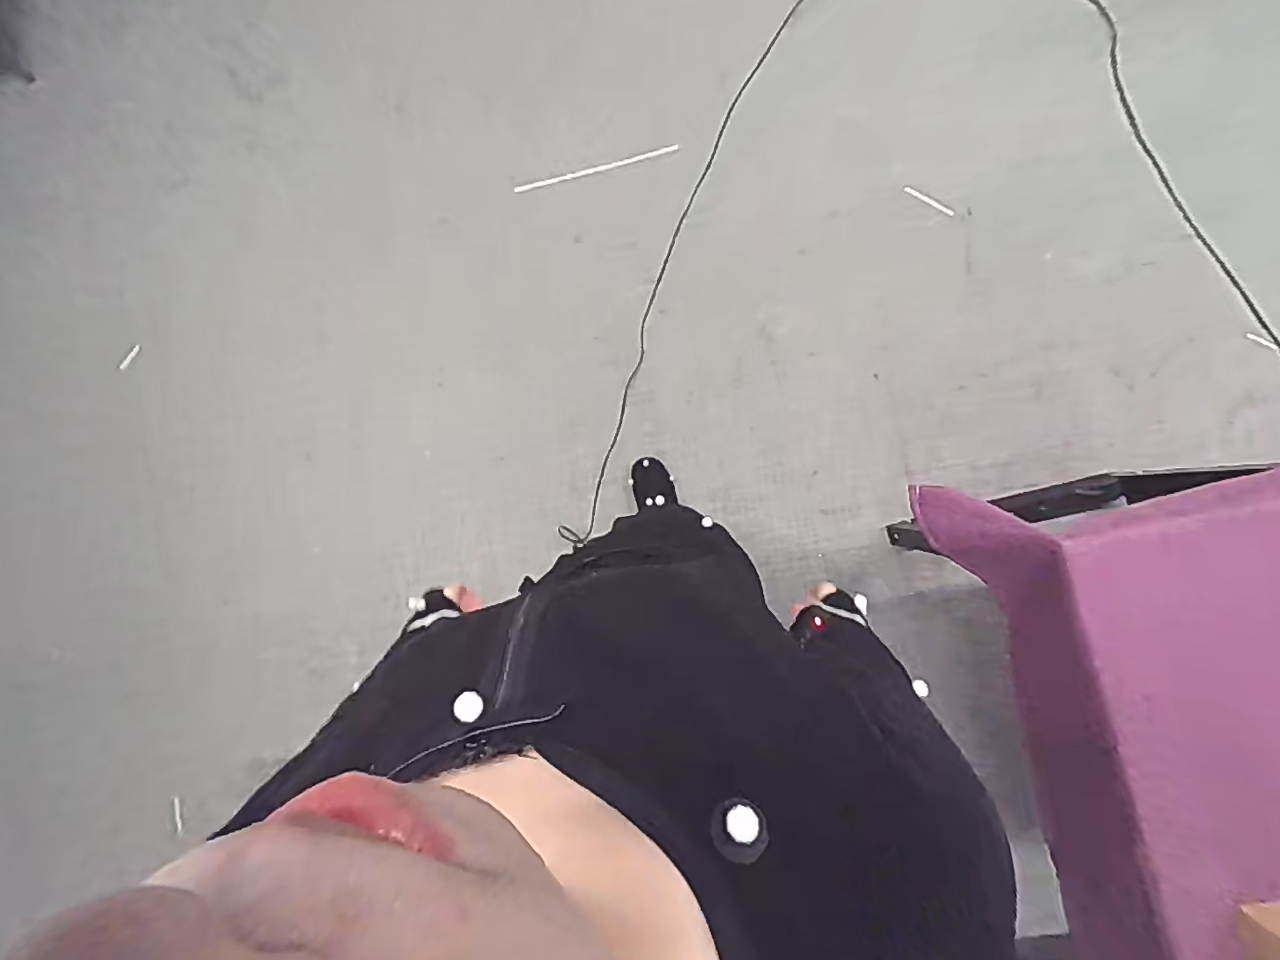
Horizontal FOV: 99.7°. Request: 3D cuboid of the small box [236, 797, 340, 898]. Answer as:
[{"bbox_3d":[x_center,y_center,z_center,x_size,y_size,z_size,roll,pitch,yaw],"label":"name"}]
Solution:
[{"bbox_3d":[-0.968,1.006,1.497,0.168,0.176,0.179,-10,87,7],"label":"small box"}]
